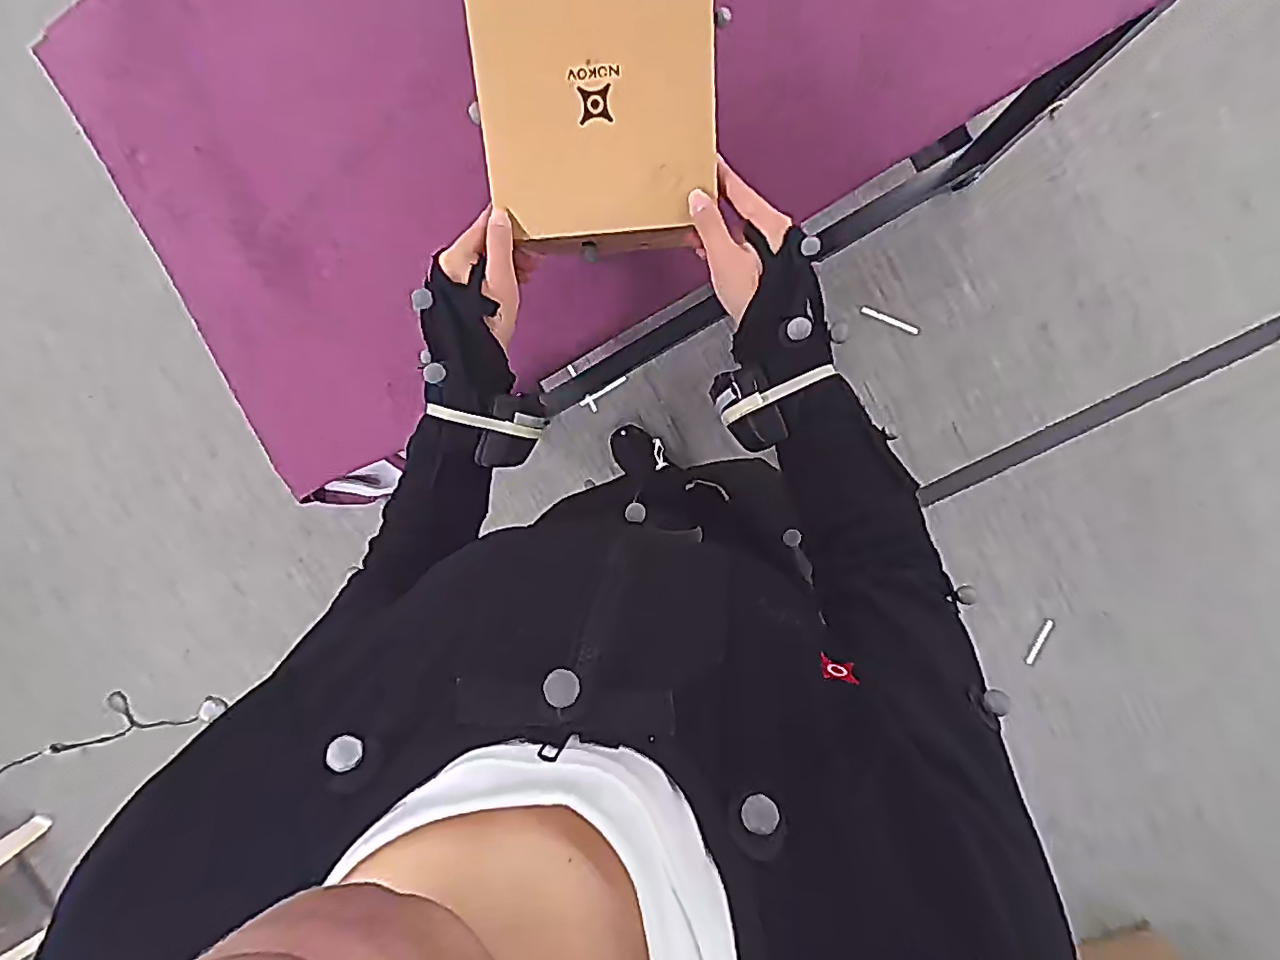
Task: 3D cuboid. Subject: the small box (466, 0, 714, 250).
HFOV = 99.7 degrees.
[{"bbox_3d":[-0.025,-0.290,0.444,0.168,0.176,0.179,-3,107,4],"label":"small box"}]
